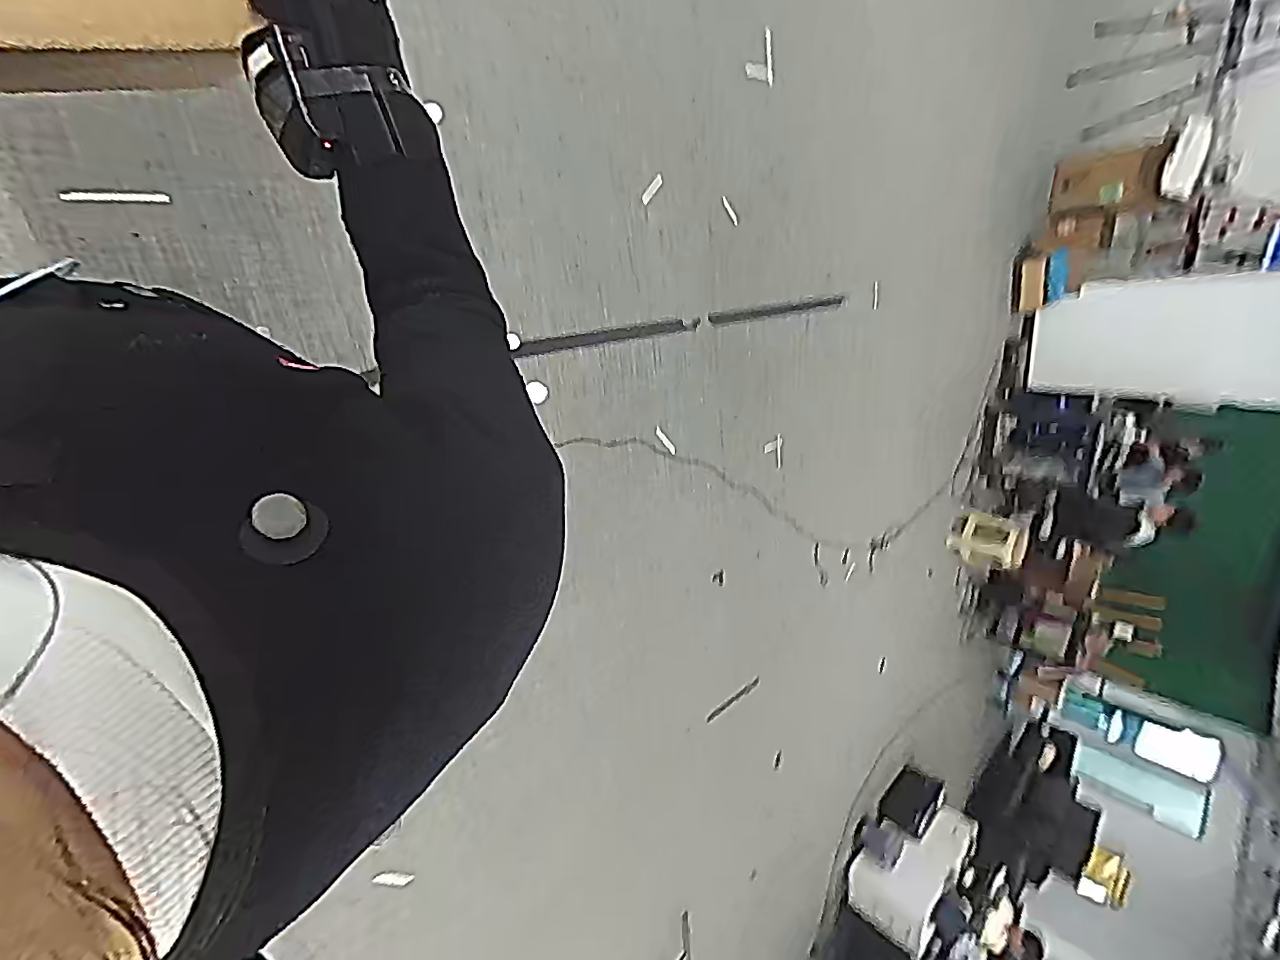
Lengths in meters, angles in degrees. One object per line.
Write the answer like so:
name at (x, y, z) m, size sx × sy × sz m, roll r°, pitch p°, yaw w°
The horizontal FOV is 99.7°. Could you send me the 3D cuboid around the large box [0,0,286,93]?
large box at (-0.481, -0.381, 0.259) m, size 0.408 × 0.320 × 0.320 m, roll -27°, pitch 132°, yaw -31°
